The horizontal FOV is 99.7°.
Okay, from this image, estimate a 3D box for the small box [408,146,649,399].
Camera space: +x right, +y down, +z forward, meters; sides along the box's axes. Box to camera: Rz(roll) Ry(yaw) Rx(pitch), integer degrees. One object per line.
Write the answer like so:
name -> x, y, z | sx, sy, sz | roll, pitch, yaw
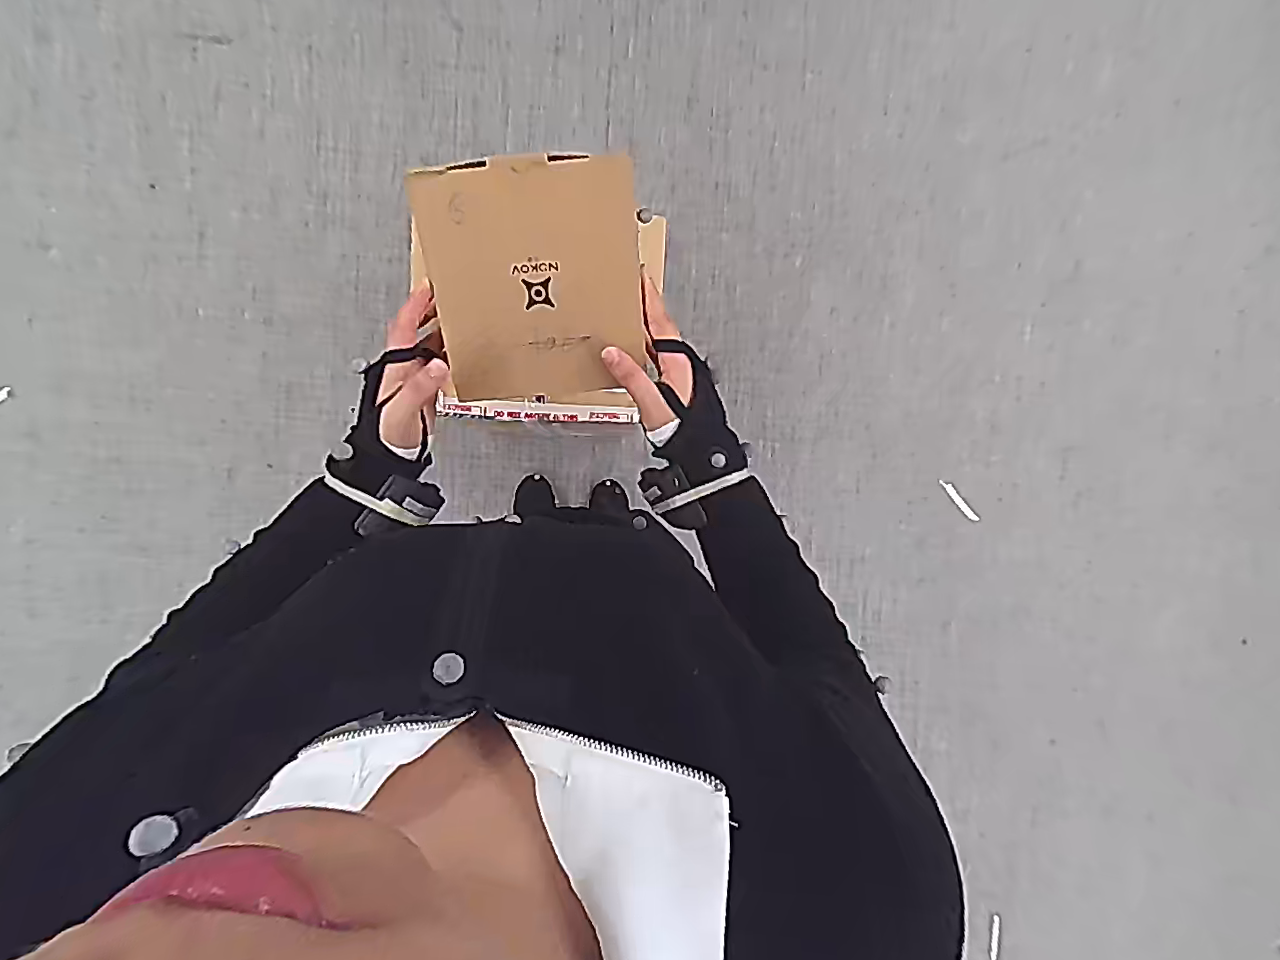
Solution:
small box -> -0.083, -0.188, 0.495 | 0.168, 0.176, 0.179 | -5, 116, 1
